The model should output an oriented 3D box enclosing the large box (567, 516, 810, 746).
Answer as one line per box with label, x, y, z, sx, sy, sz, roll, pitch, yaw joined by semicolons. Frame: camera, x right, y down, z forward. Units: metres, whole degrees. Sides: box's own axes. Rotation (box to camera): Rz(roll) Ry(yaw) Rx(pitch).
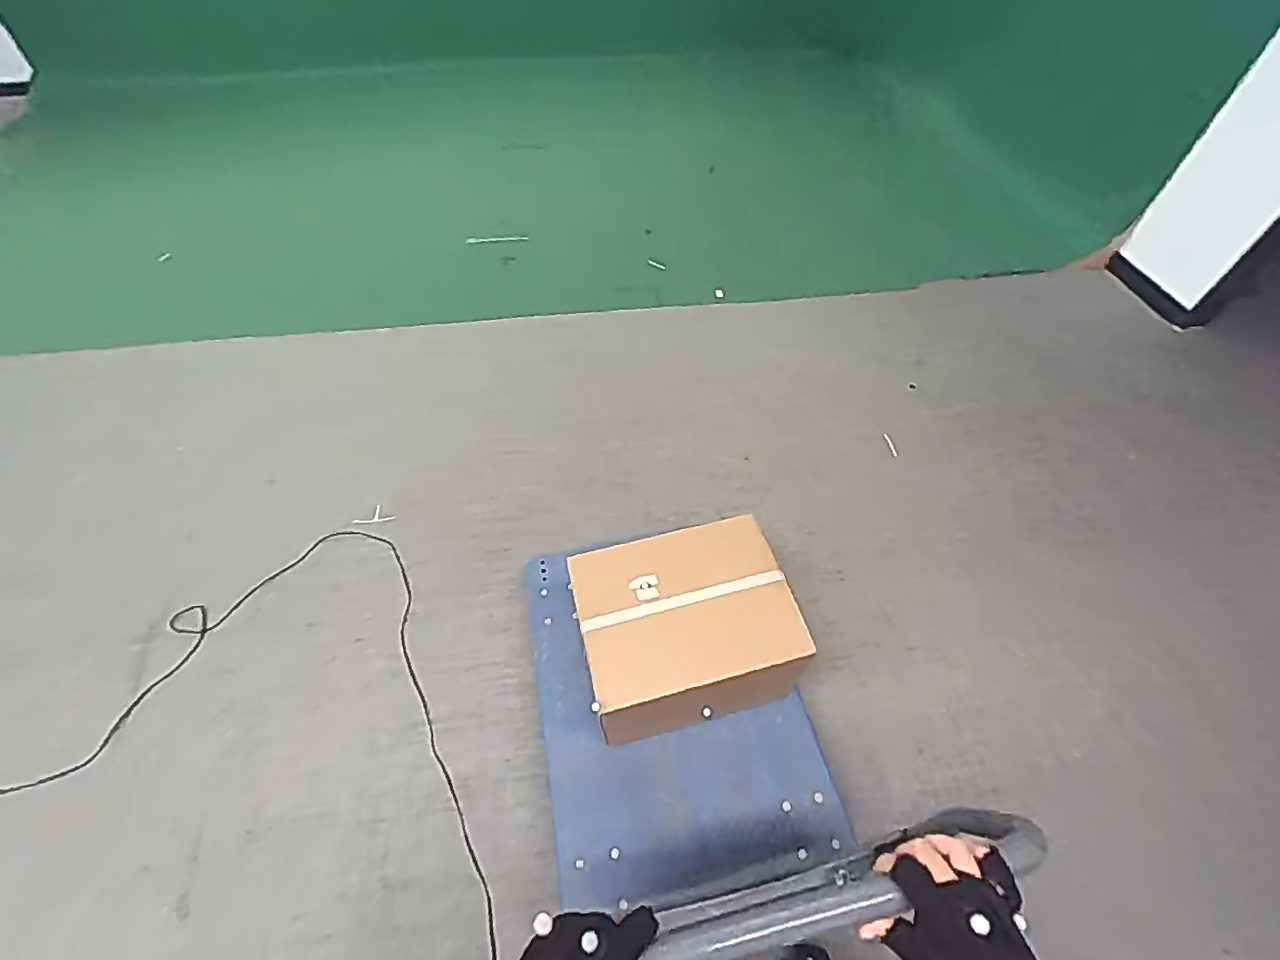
large box;0.086;0.327;1.155;0.408;0.320;0.320;-13;54;-7
